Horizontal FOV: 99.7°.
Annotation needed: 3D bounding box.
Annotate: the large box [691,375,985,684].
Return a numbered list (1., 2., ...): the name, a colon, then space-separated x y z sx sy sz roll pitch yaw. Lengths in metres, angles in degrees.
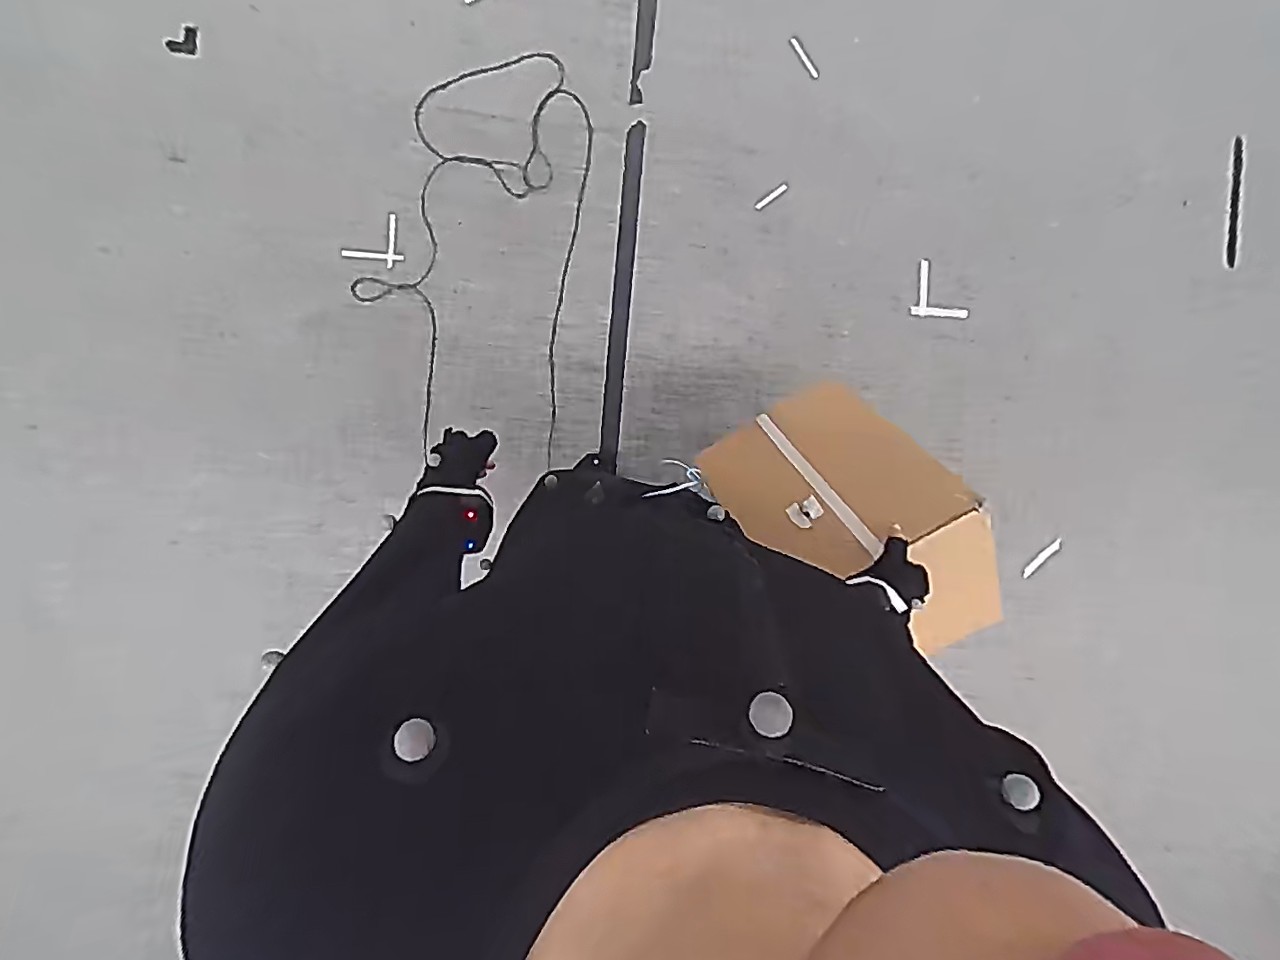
1. large box: 0.346 0.081 0.995 0.320 0.408 0.320 -32 130 7
